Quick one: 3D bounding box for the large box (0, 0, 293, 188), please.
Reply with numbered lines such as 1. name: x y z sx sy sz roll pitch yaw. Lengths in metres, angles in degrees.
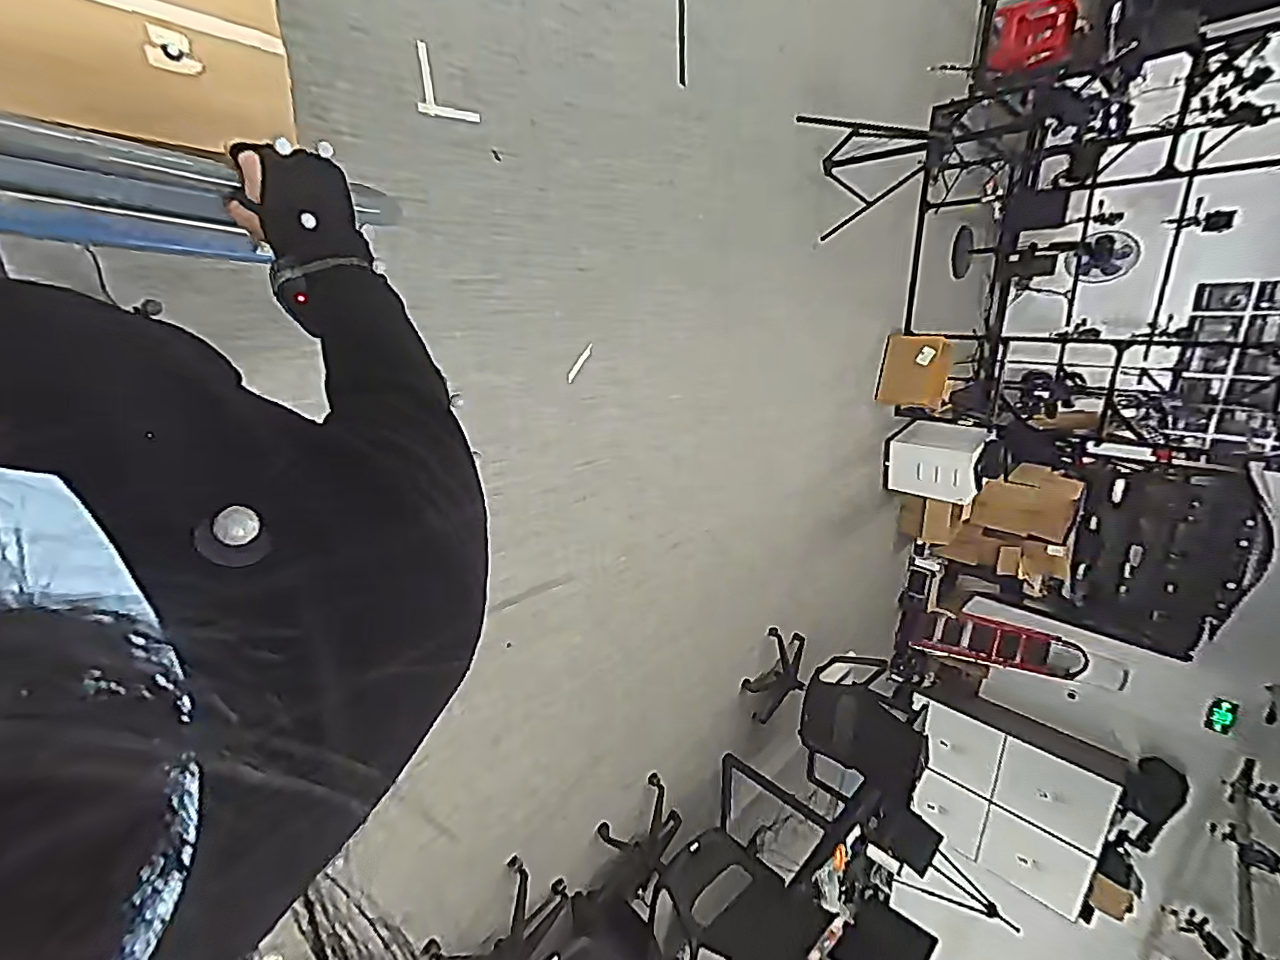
1. large box: -0.789 -0.636 0.767 0.408 0.320 0.320 -16 114 -44
